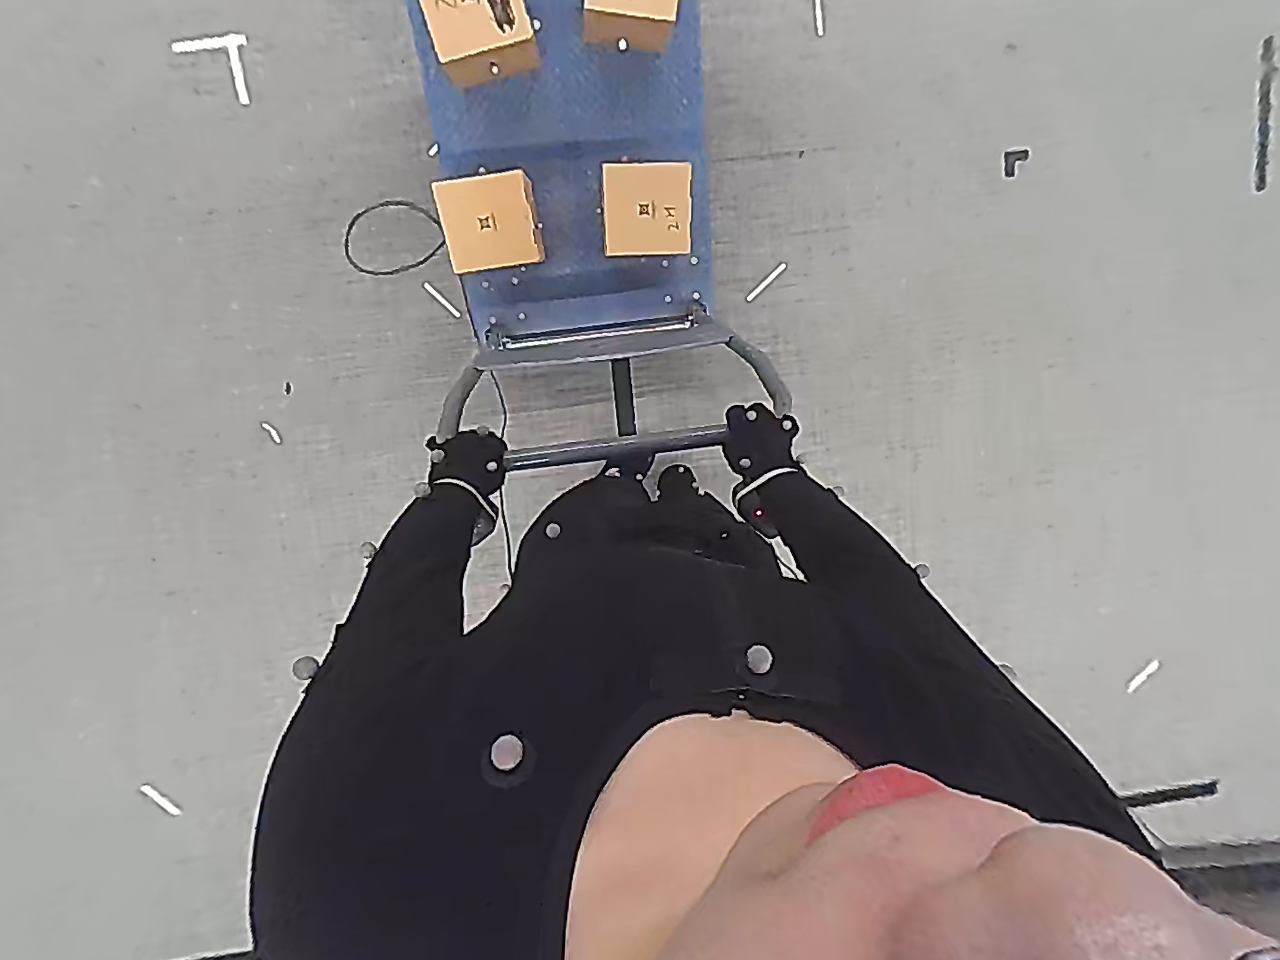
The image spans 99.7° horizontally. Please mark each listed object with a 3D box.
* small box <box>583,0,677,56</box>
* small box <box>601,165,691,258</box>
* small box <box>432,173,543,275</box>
[{"bbox_3d":[-0.019,-0.926,0.998,0.168,0.176,0.179,2,113,-7],"label":"small box"},{"bbox_3d":[0.008,-0.561,1.147,0.179,0.176,0.168,-3,113,-4],"label":"small box"},{"bbox_3d":[-0.307,-0.525,1.129,0.179,0.176,0.168,-11,112,-3],"label":"small box"}]
